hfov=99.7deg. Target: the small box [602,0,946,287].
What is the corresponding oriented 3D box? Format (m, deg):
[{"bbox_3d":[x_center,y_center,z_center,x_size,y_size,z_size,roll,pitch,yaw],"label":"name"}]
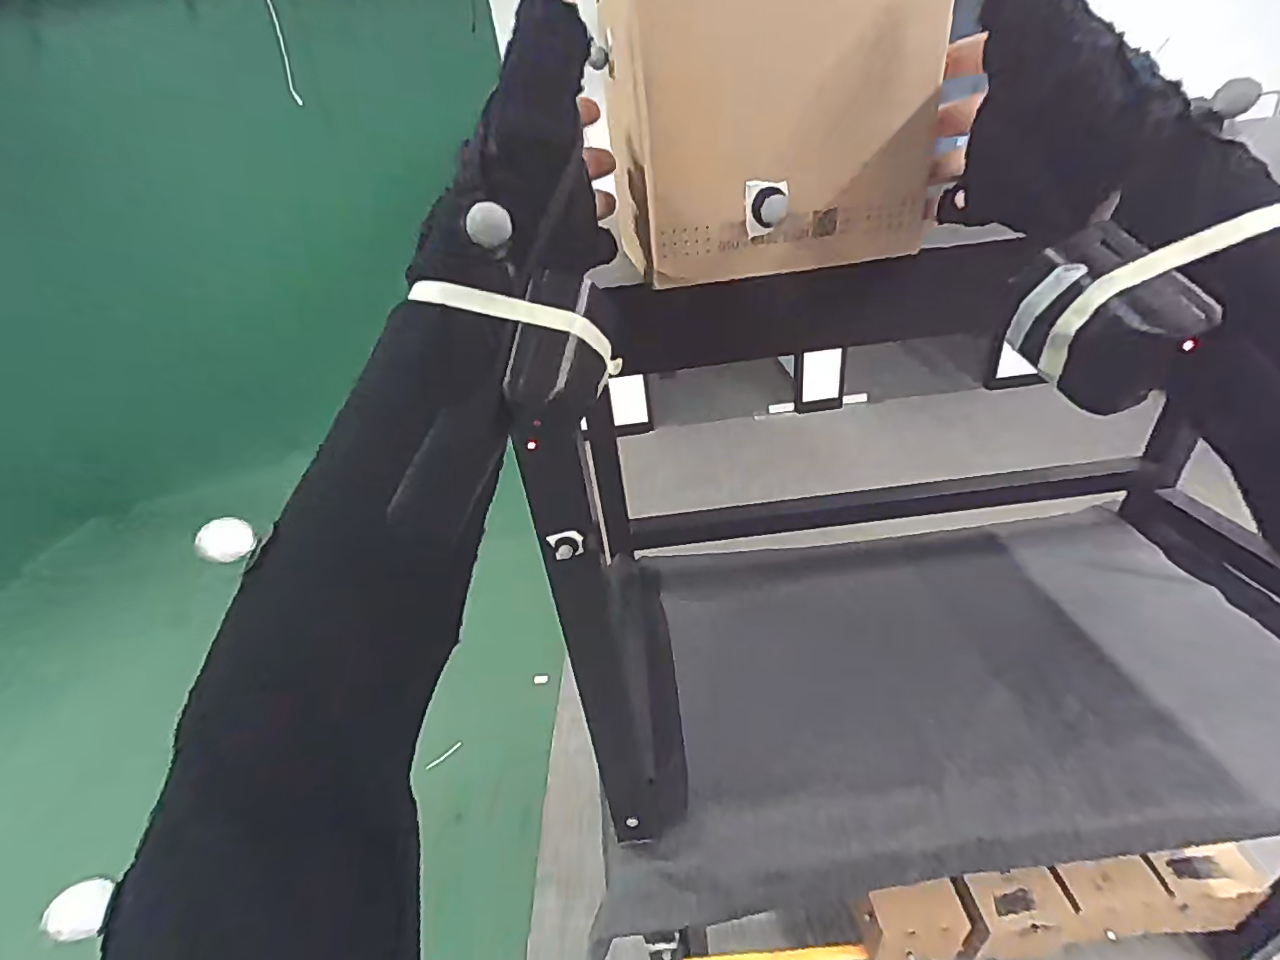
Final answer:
[{"bbox_3d":[0.069,-0.237,0.364,0.168,0.176,0.179,-10,32,-3],"label":"small box"}]
